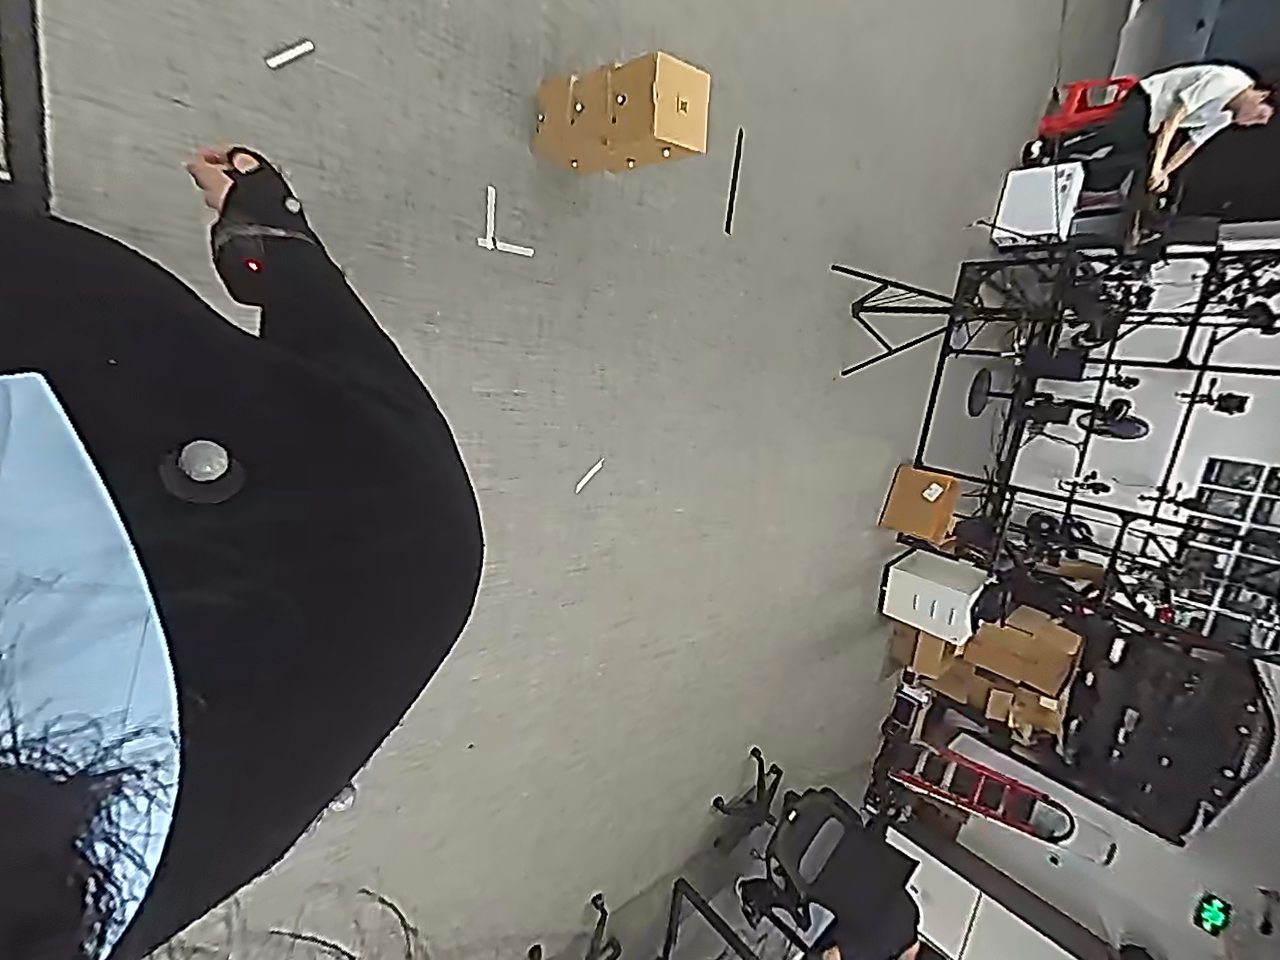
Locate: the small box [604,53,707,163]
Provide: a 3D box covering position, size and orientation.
[{"bbox_3d":[0.035,-0.870,1.287,0.179,0.176,0.168,-13,113,-40],"label":"small box"}]

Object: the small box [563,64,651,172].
[{"bbox_3d":[-0.073,-0.922,1.398,0.179,0.176,0.168,2,102,-43],"label":"small box"}]
